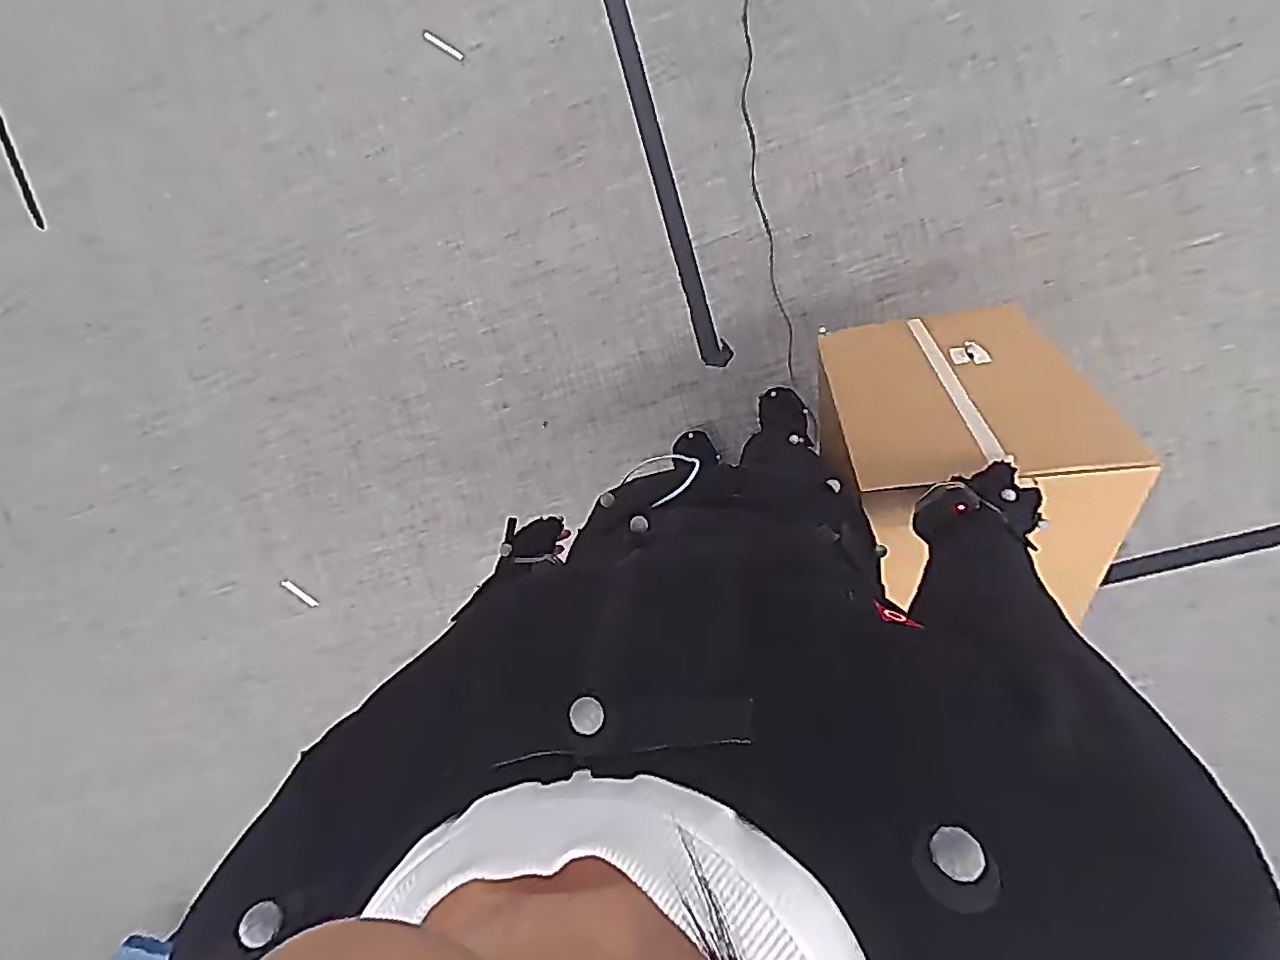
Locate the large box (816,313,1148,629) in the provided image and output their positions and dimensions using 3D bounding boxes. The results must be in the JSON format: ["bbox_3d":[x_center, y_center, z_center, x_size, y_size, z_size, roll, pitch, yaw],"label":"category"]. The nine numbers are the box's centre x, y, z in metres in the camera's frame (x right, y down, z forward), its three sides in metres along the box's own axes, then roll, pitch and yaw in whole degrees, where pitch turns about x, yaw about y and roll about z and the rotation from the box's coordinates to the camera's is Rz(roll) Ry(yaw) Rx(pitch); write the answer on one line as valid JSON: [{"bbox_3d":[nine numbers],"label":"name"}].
[{"bbox_3d":[0.480,-0.019,0.880,0.320,0.408,0.320,-6,130,12],"label":"large box"}]
